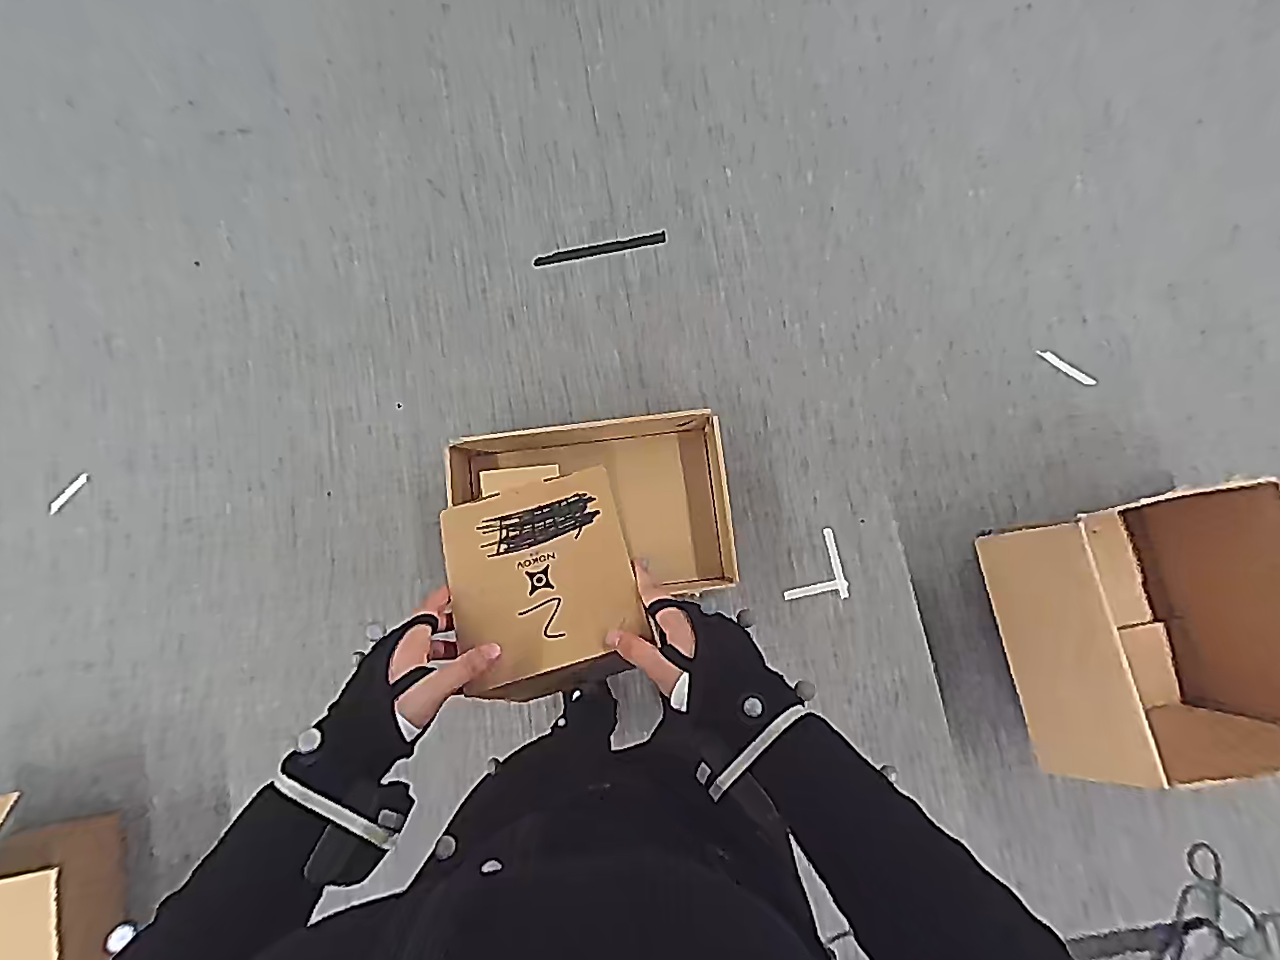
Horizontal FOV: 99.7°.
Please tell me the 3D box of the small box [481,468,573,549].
[{"bbox_3d":[-0.256,0.071,1.254,0.179,0.176,0.168,-6,84,-2],"label":"small box"}]
